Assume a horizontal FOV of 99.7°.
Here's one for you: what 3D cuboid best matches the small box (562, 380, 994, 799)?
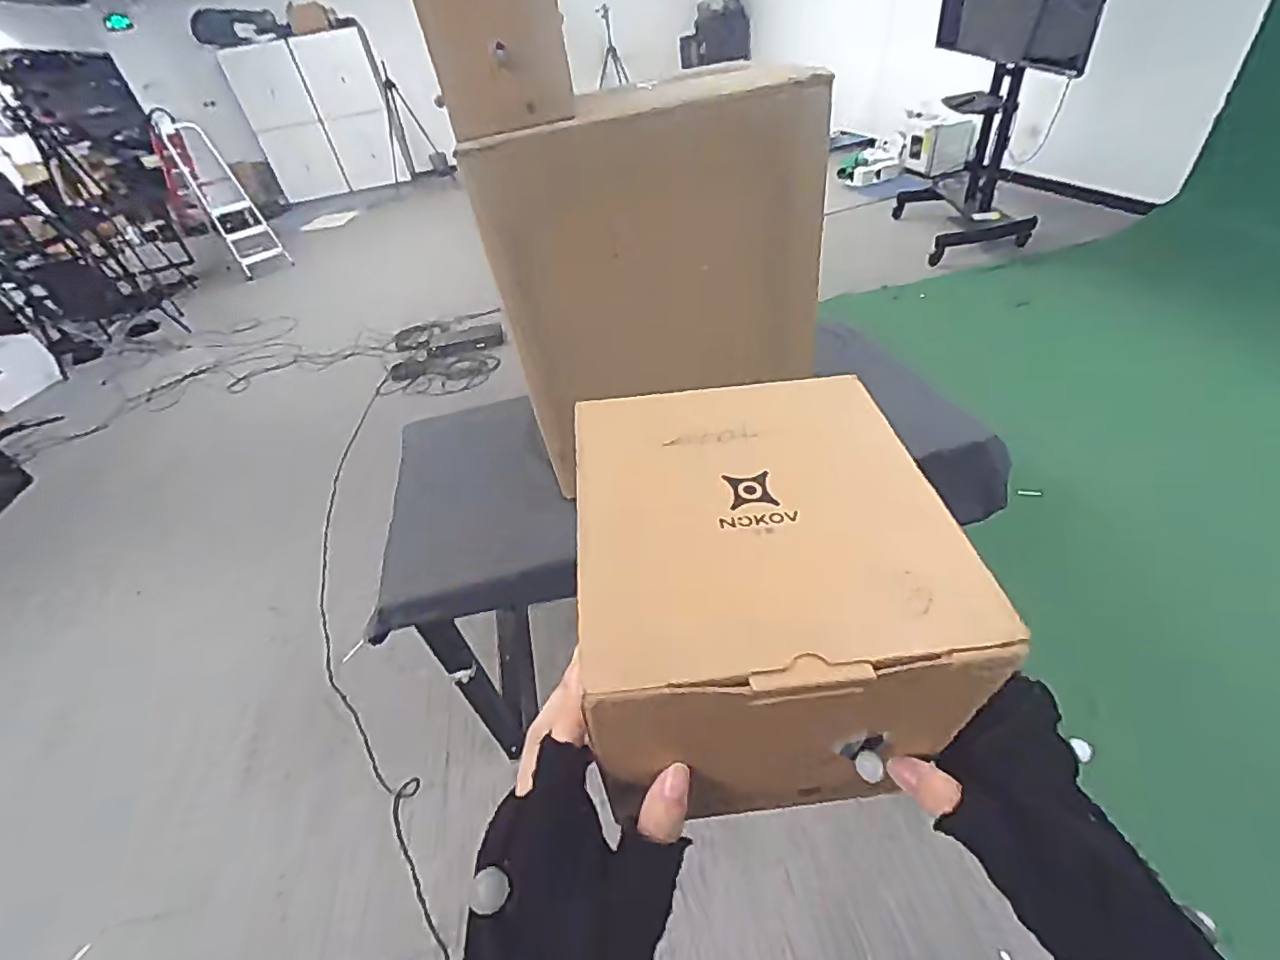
[{"bbox_3d":[0.051,0.065,0.313,0.168,0.176,0.179,-5,43,-2],"label":"small box"}]

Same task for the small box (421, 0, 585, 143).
[{"bbox_3d":[-0.178,-0.569,0.723,0.168,0.176,0.179,-15,43,-5],"label":"small box"}]
